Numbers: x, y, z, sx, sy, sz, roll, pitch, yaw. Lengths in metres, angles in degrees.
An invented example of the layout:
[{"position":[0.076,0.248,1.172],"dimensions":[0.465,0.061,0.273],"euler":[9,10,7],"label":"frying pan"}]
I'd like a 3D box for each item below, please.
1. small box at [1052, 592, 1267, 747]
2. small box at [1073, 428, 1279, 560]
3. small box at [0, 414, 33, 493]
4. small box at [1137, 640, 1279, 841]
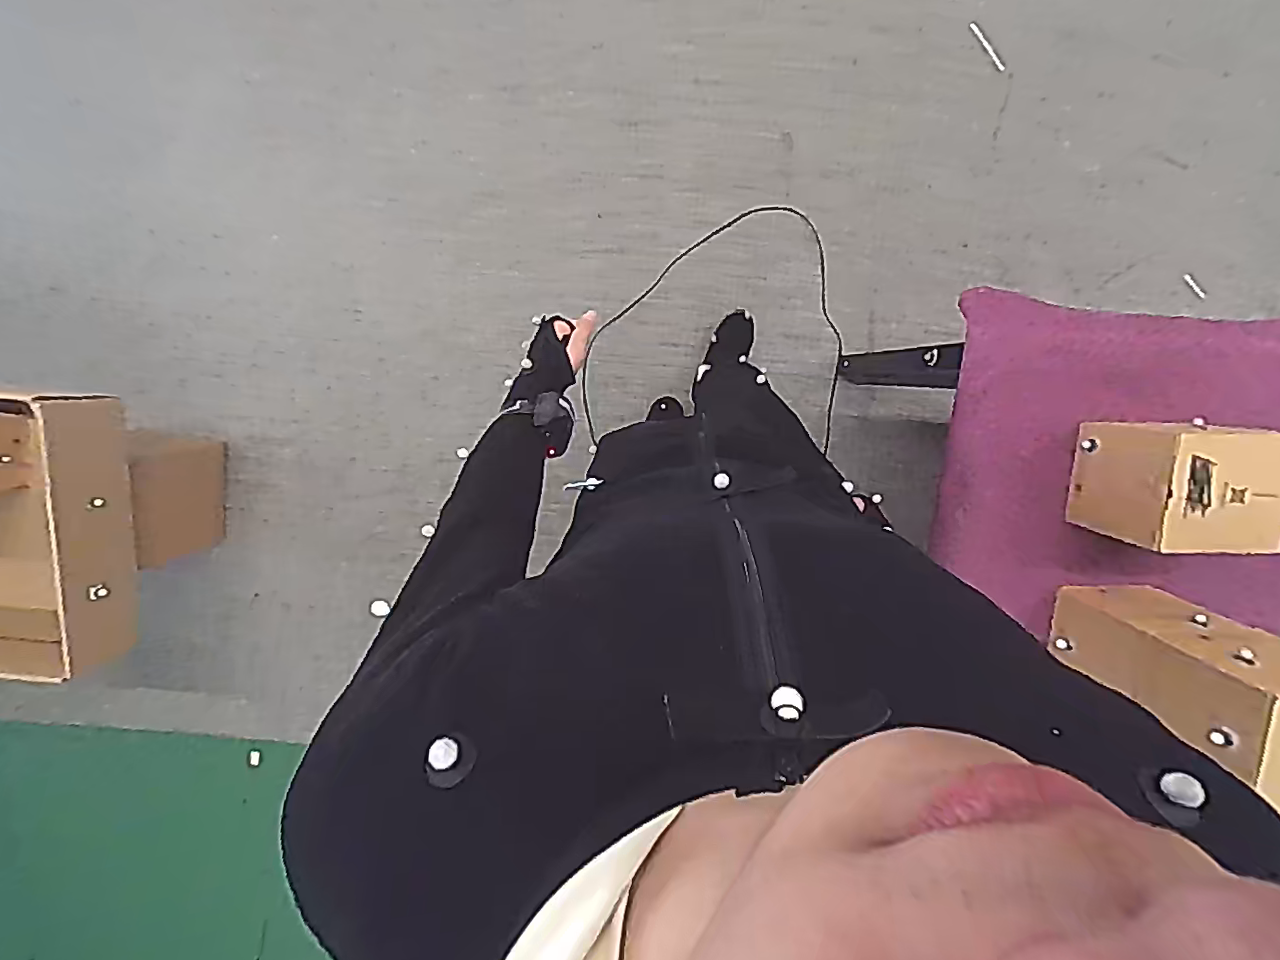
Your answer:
[{"position":[0.794,0.291,0.849],"dimensions":[0.168,0.176,0.179],"euler":[0,100,0],"label":"small box"},{"position":[0.794,0.014,0.798],"dimensions":[0.179,0.176,0.168],"euler":[0,100,0],"label":"small box"},{"position":[-1.439,-0.056,1.122],"dimensions":[0.179,0.176,0.168],"euler":[6,99,-2],"label":"small box"},{"position":[0.792,0.317,0.688],"dimensions":[0.168,0.176,0.179],"euler":[0,100,2],"label":"small box"}]
